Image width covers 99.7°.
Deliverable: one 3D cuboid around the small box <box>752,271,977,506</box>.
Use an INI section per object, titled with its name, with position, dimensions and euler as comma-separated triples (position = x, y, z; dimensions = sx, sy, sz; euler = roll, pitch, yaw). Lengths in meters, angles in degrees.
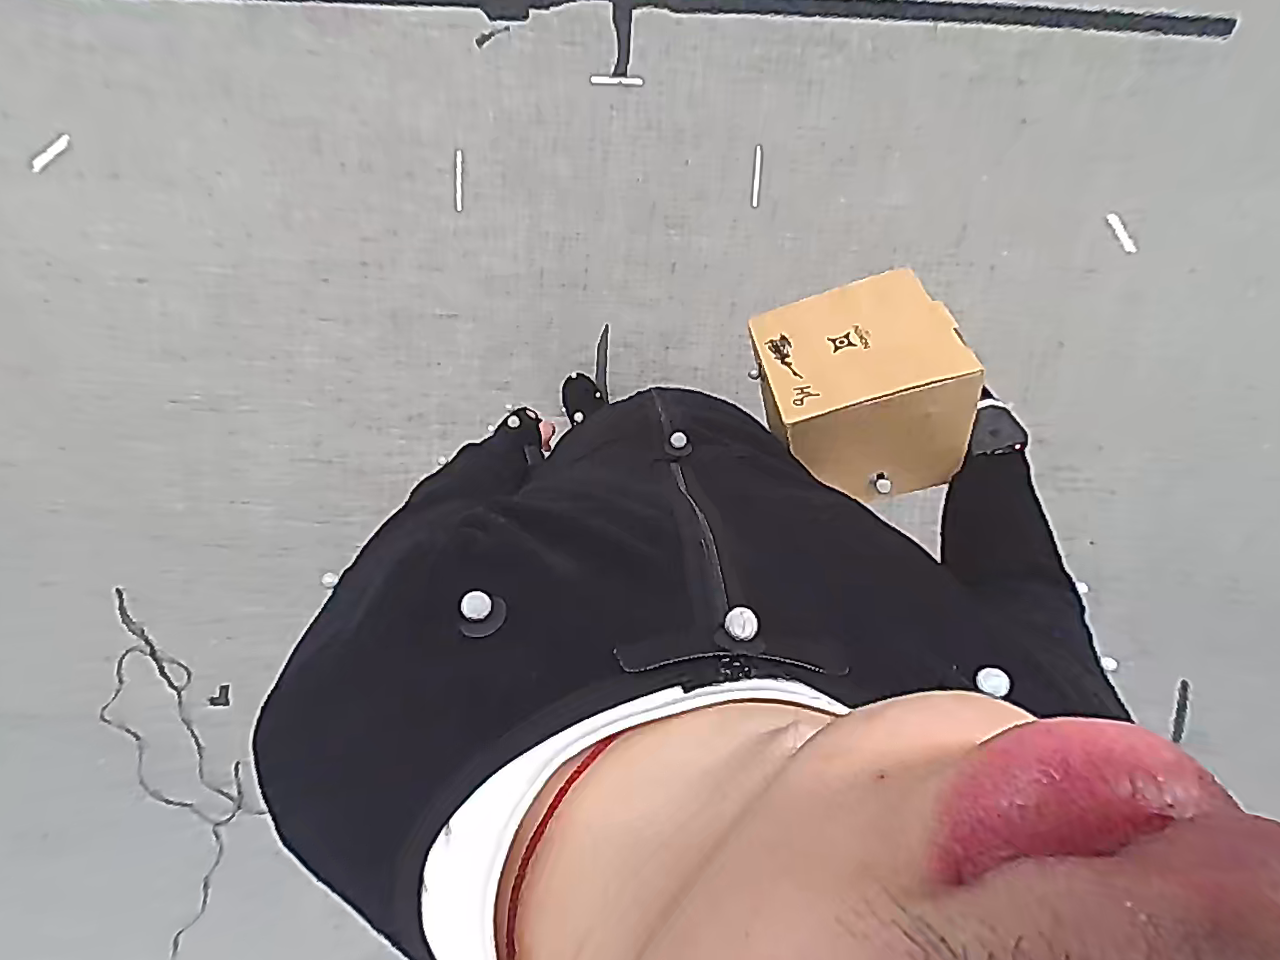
[small box]
position = 0.237, -0.095, 0.608
dimensions = 0.179, 0.168, 0.176
euler = -15, 140, 10
